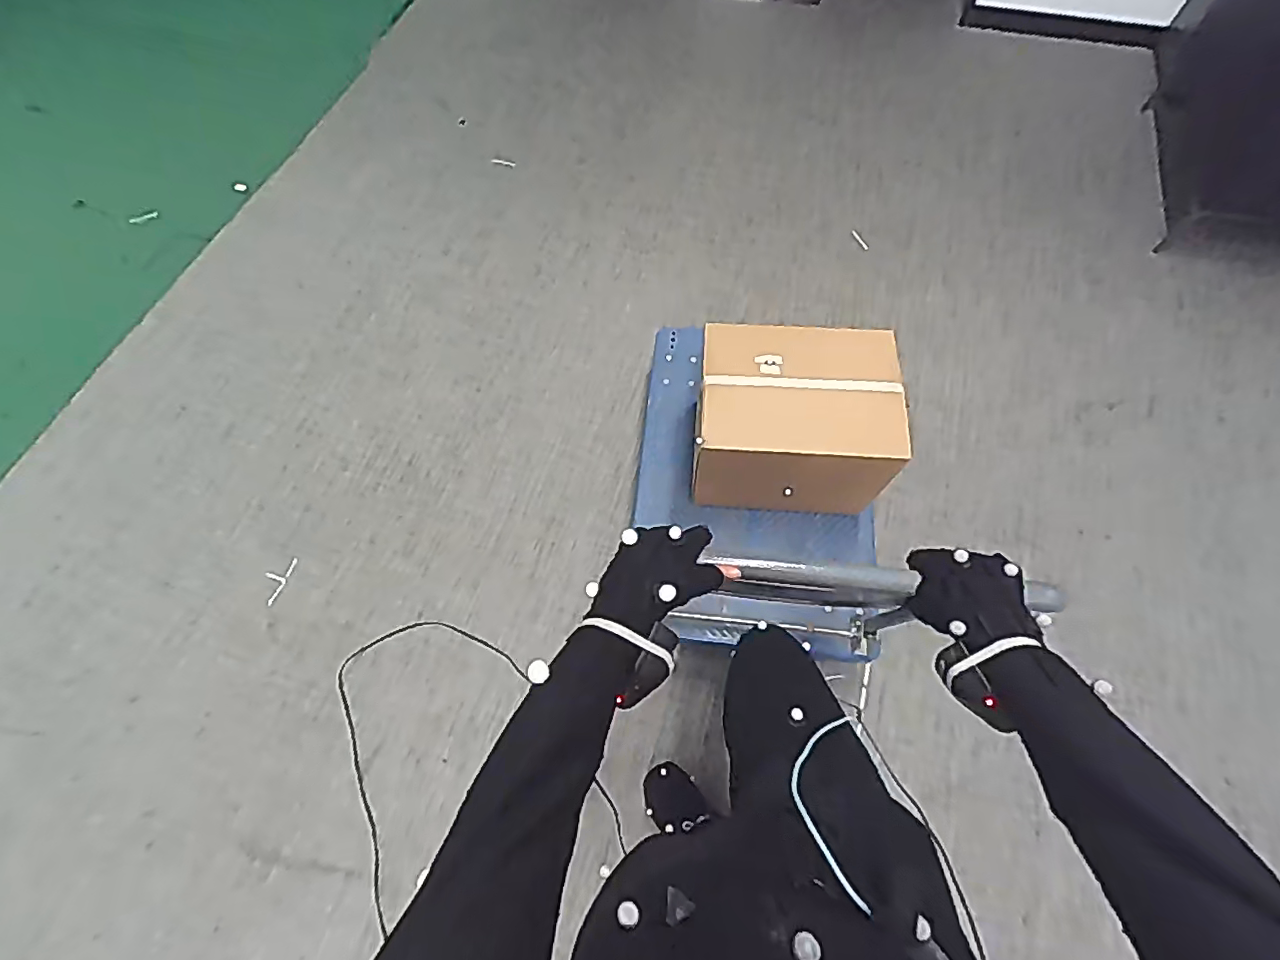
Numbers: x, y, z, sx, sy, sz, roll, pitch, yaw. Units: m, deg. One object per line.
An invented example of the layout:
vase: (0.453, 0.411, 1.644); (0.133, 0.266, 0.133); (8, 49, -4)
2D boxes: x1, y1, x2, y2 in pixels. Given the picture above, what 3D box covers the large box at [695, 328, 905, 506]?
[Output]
large box: (0.337, -0.133, 1.260); (0.408, 0.320, 0.320); (2, 66, 5)
